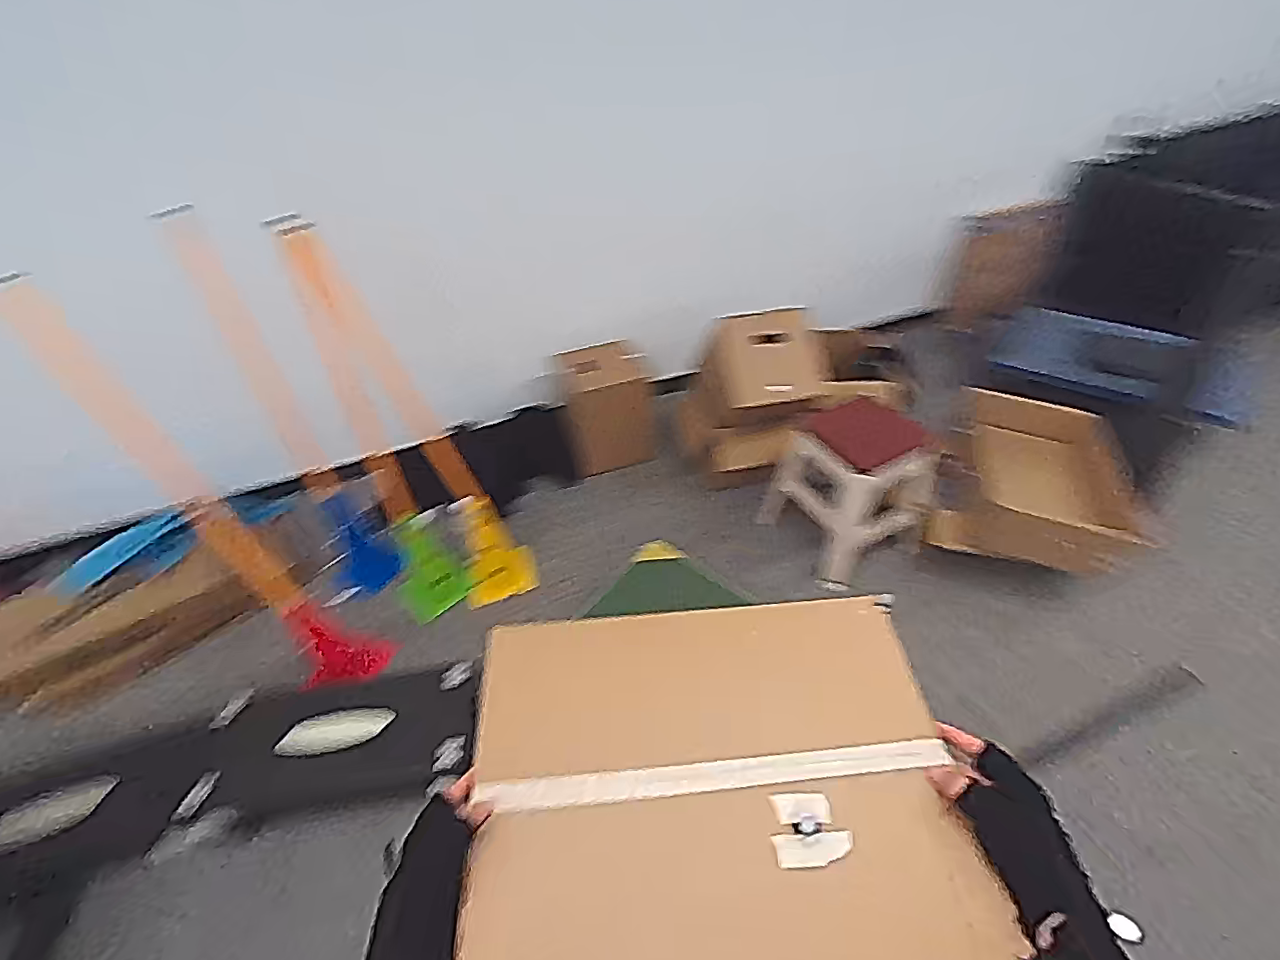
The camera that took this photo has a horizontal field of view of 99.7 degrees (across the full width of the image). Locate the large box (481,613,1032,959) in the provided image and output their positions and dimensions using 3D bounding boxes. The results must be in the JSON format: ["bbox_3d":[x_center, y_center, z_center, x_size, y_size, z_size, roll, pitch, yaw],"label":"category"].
[{"bbox_3d":[0.075,0.369,0.574,0.408,0.320,0.320,-4,47,-2],"label":"large box"}]
